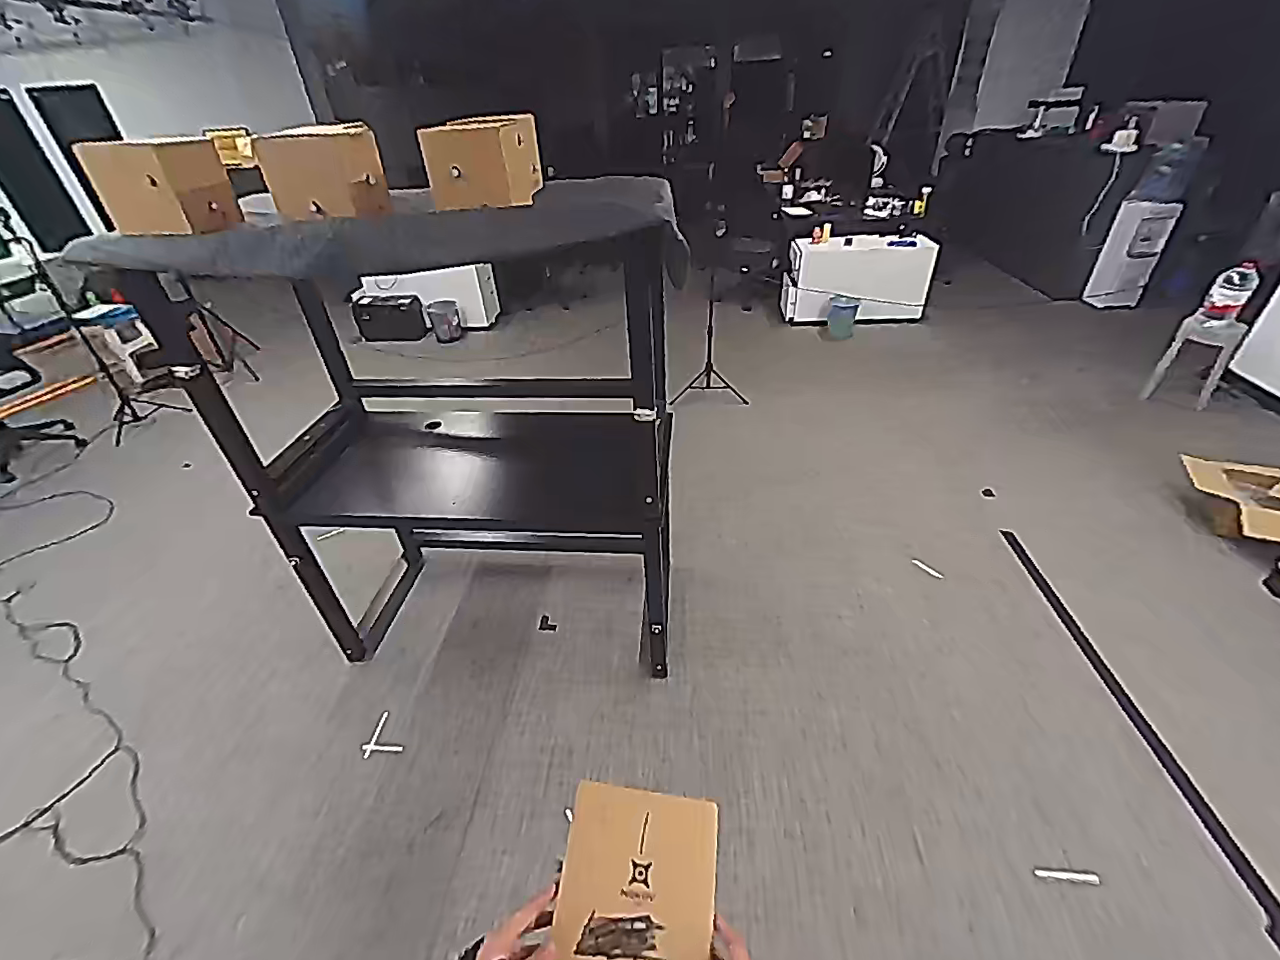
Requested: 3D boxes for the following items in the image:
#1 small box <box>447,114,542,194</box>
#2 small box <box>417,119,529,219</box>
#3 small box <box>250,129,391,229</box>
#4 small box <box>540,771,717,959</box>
[{"bbox_3d":[-0.363,-0.829,1.386,0.179,0.176,0.168,0,37,6],"label":"small box"},{"bbox_3d":[-0.342,-0.660,1.152,0.168,0.176,0.179,-1,35,4],"label":"small box"},{"bbox_3d":[-0.666,-0.644,1.156,0.179,0.176,0.168,1,35,4],"label":"small box"},{"bbox_3d":[-0.009,0.461,0.621,0.168,0.176,0.179,8,49,1],"label":"small box"}]
